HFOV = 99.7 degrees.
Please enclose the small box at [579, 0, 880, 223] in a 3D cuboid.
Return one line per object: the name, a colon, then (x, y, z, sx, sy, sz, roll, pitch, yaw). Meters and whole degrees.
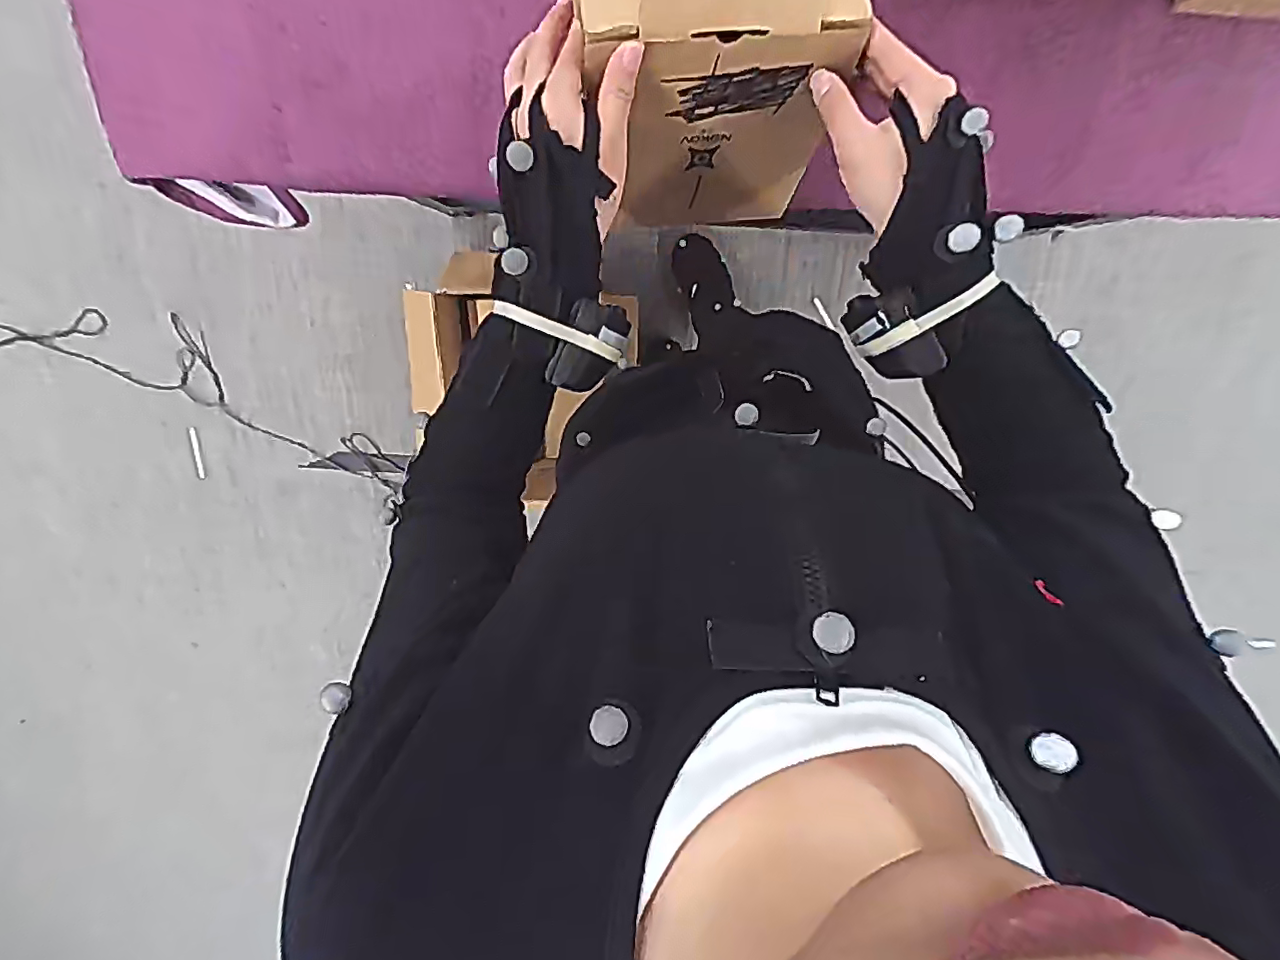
small box: (0.042, -0.322, 0.395, 0.168, 0.179, 0.176, -5, 81, -4)
